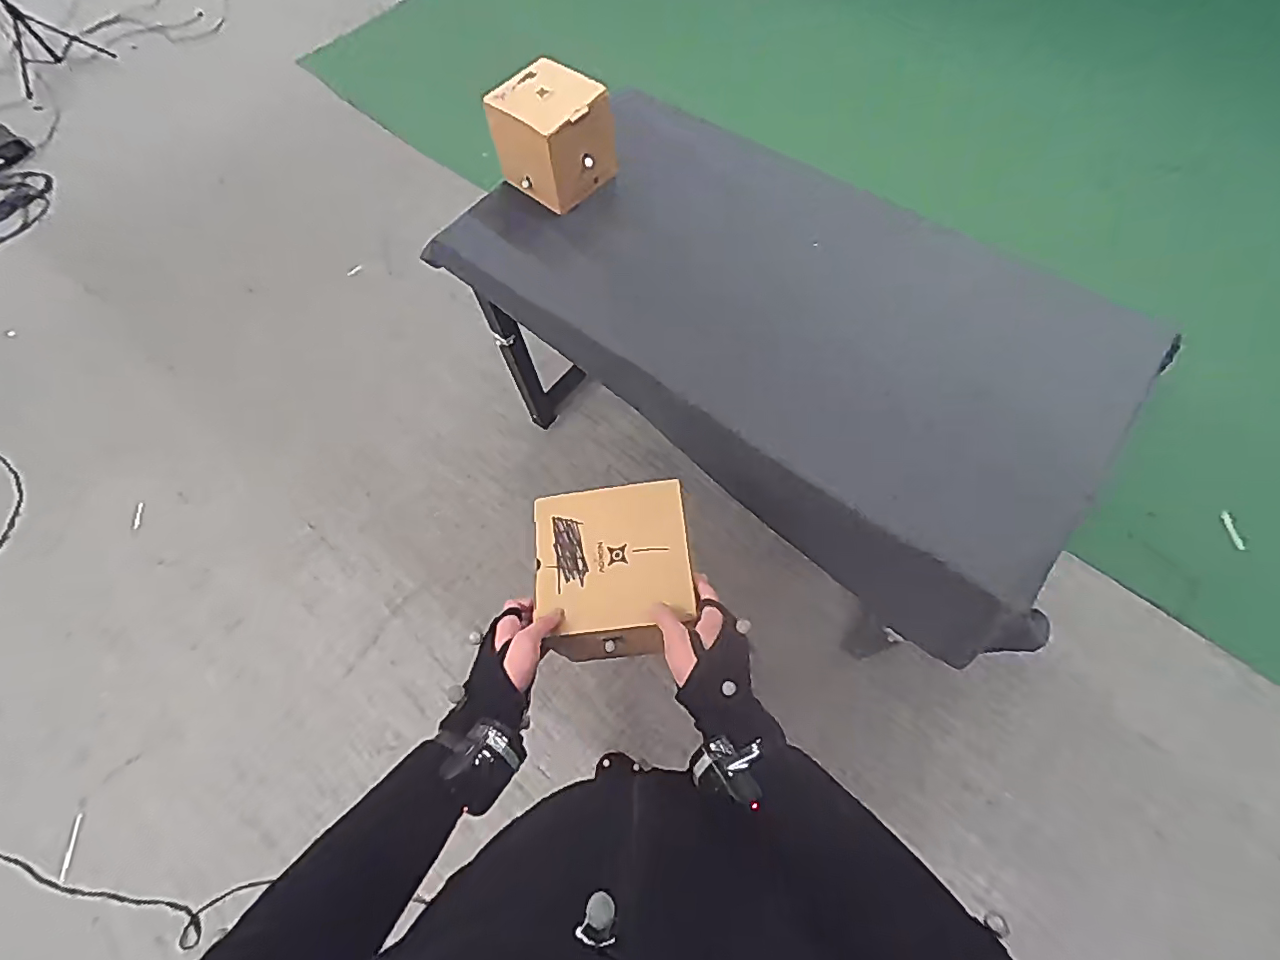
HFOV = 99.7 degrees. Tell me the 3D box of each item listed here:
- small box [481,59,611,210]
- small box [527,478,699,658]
[{"bbox_3d":[-0.174,-0.671,1.067,0.179,0.176,0.168,38,73,17],"label":"small box"},{"bbox_3d":[-0.026,0.116,0.661,0.179,0.176,0.168,-7,63,5],"label":"small box"}]
